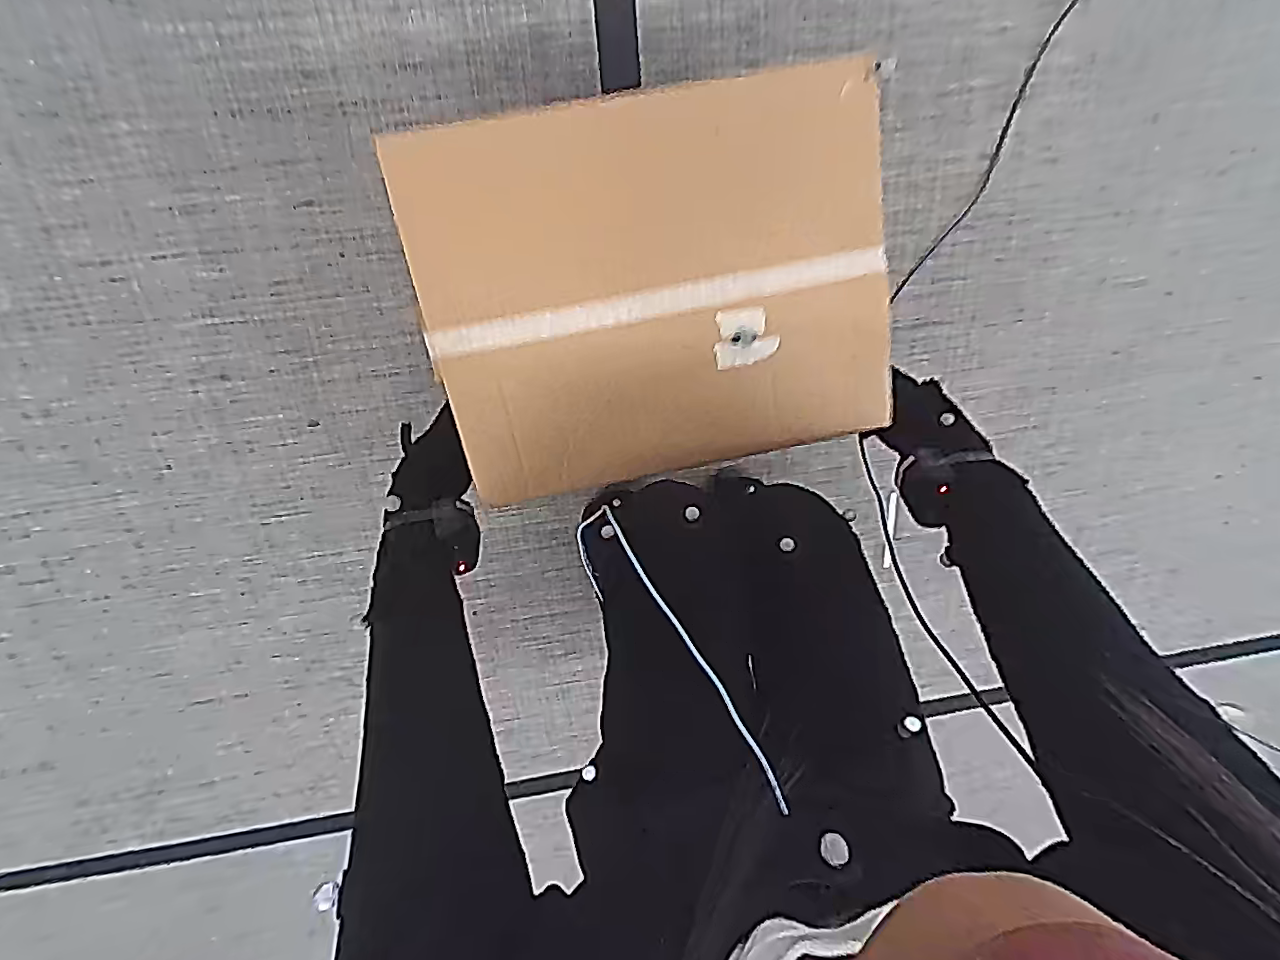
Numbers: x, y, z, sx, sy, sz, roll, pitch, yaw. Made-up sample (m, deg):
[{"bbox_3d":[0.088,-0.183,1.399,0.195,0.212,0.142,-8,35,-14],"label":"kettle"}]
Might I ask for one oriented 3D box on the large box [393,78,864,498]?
[{"bbox_3d":[-0.005,-0.209,0.645,0.408,0.320,0.320,-12,110,-3],"label":"large box"}]
